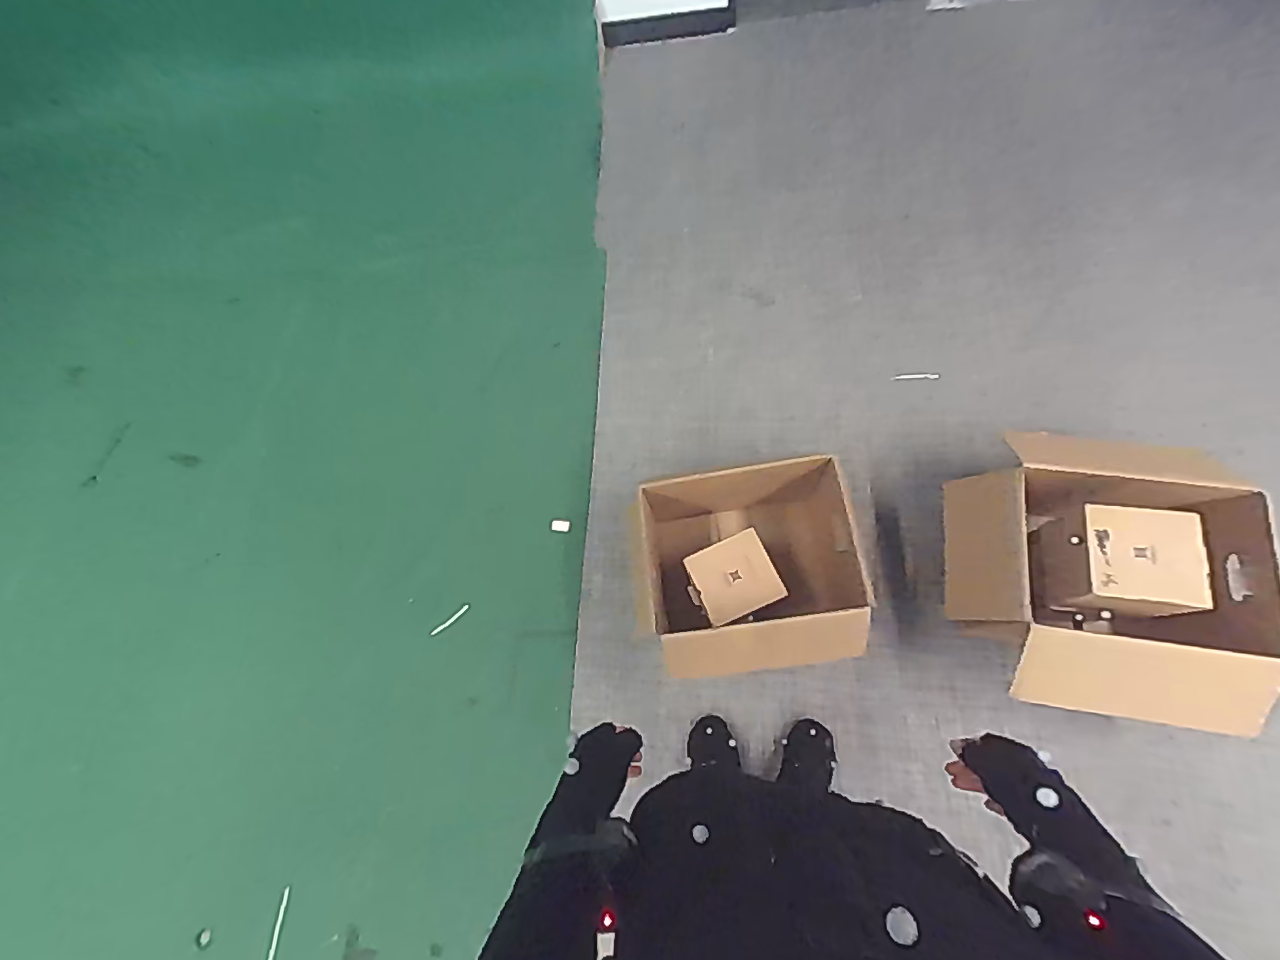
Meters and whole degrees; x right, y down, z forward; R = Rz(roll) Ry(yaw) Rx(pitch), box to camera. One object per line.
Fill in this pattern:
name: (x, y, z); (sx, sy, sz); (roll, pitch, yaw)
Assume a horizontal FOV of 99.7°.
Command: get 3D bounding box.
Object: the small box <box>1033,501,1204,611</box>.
small box: (0.884, 0.149, 1.018); (0.179, 0.176, 0.168); (5, 71, 11)
